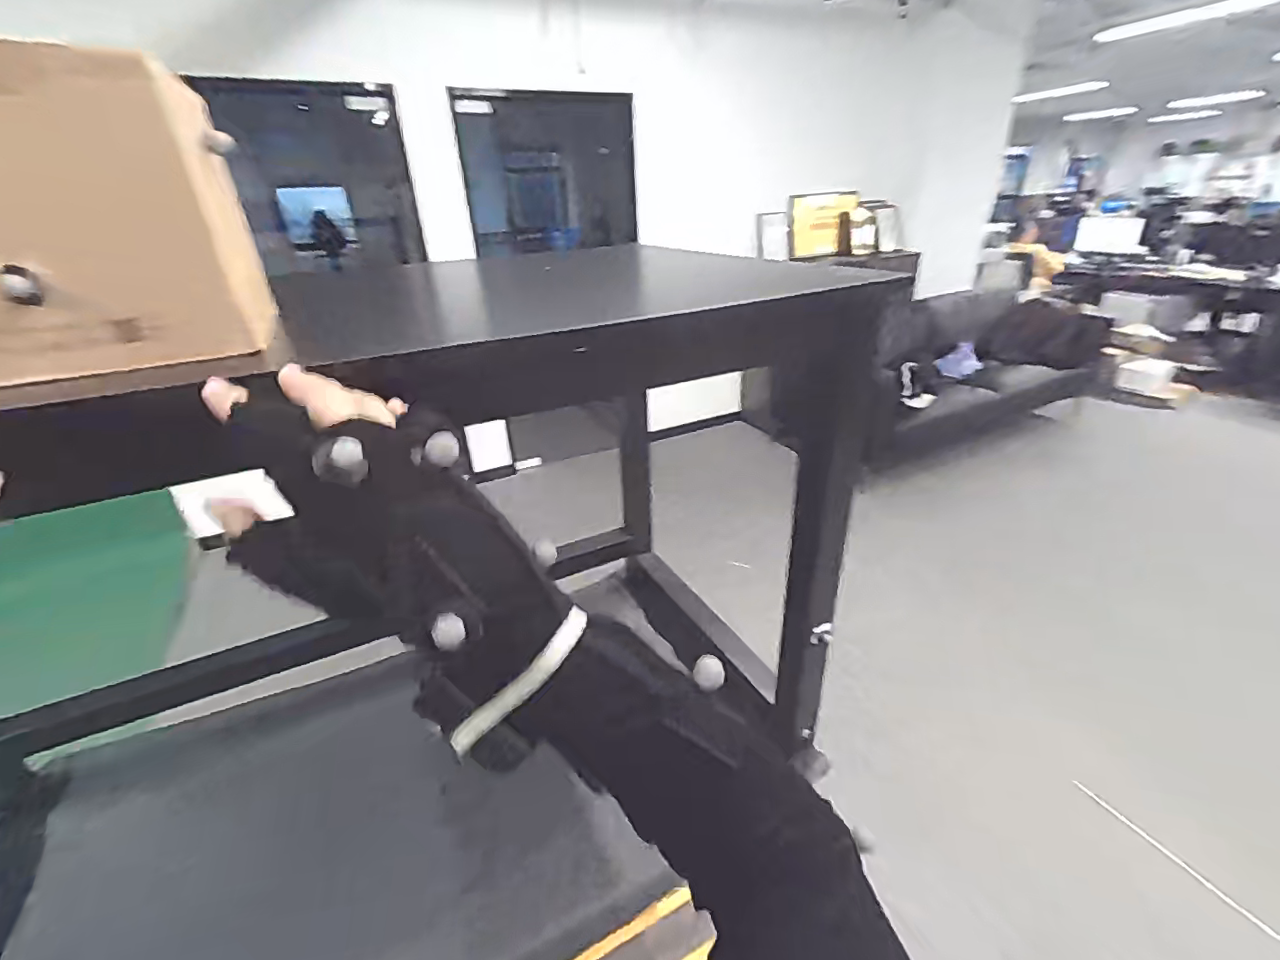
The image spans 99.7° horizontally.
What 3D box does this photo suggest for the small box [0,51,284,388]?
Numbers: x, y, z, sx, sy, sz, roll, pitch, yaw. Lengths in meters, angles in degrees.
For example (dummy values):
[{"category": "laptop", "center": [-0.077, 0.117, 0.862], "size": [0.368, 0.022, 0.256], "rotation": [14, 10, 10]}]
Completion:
[{"category": "small box", "center": [-0.365, -0.170, 0.369], "size": [0.168, 0.176, 0.179], "rotation": [-16, 31, -24]}]
